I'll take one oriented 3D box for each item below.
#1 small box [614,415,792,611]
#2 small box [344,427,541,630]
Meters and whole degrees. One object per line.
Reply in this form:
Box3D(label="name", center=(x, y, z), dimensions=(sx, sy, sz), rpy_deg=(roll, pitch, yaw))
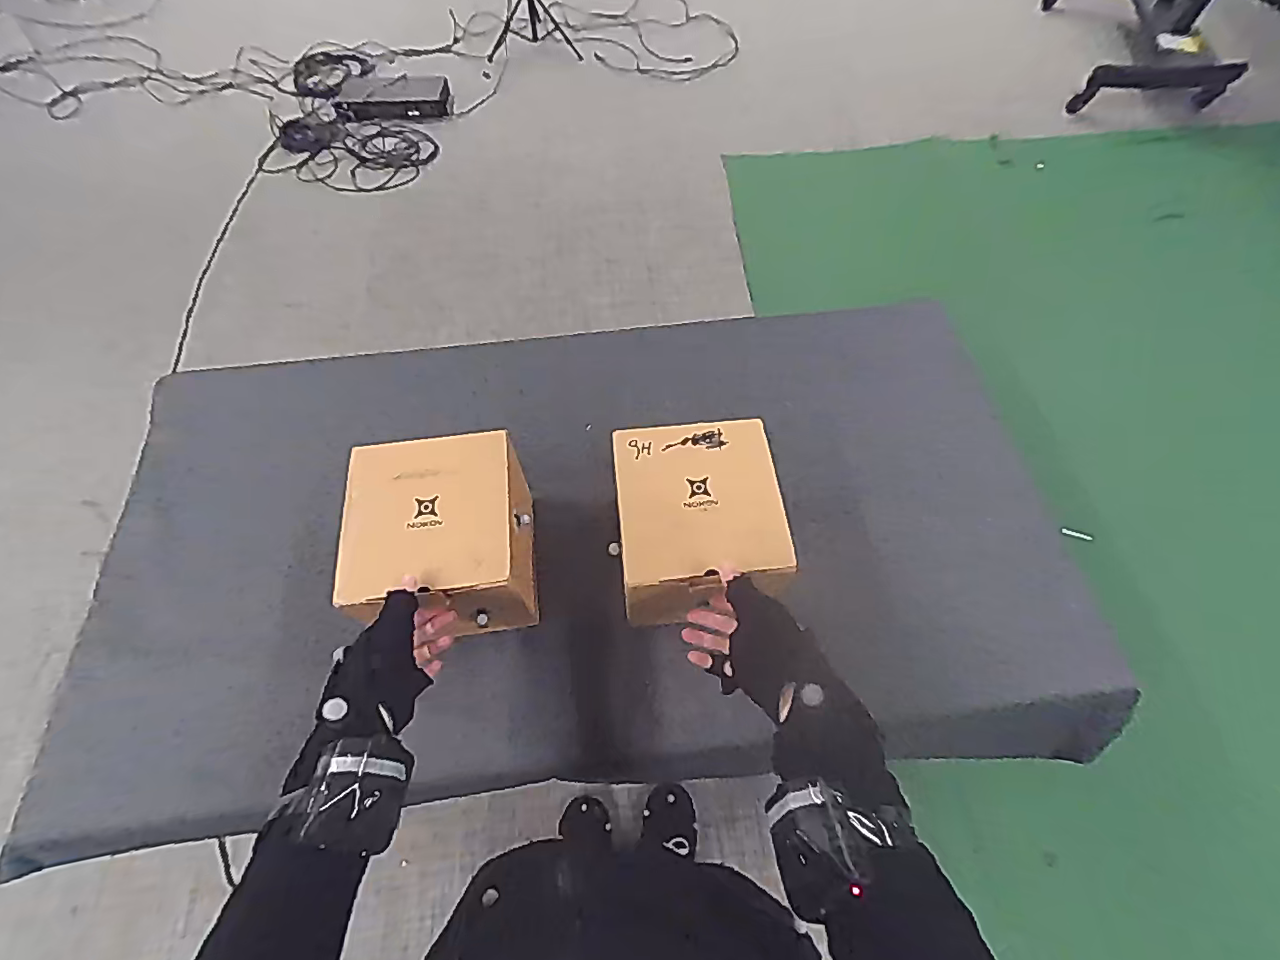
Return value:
Box3D(label="small box", center=(0.061, 0.048, 0.627), dimensions=(0.168, 0.176, 0.179), rpy_deg=(-5, 63, -3))
Box3D(label="small box", center=(-0.211, 0.065, 0.622), dimensions=(0.168, 0.176, 0.179), rpy_deg=(-8, 61, -5))
